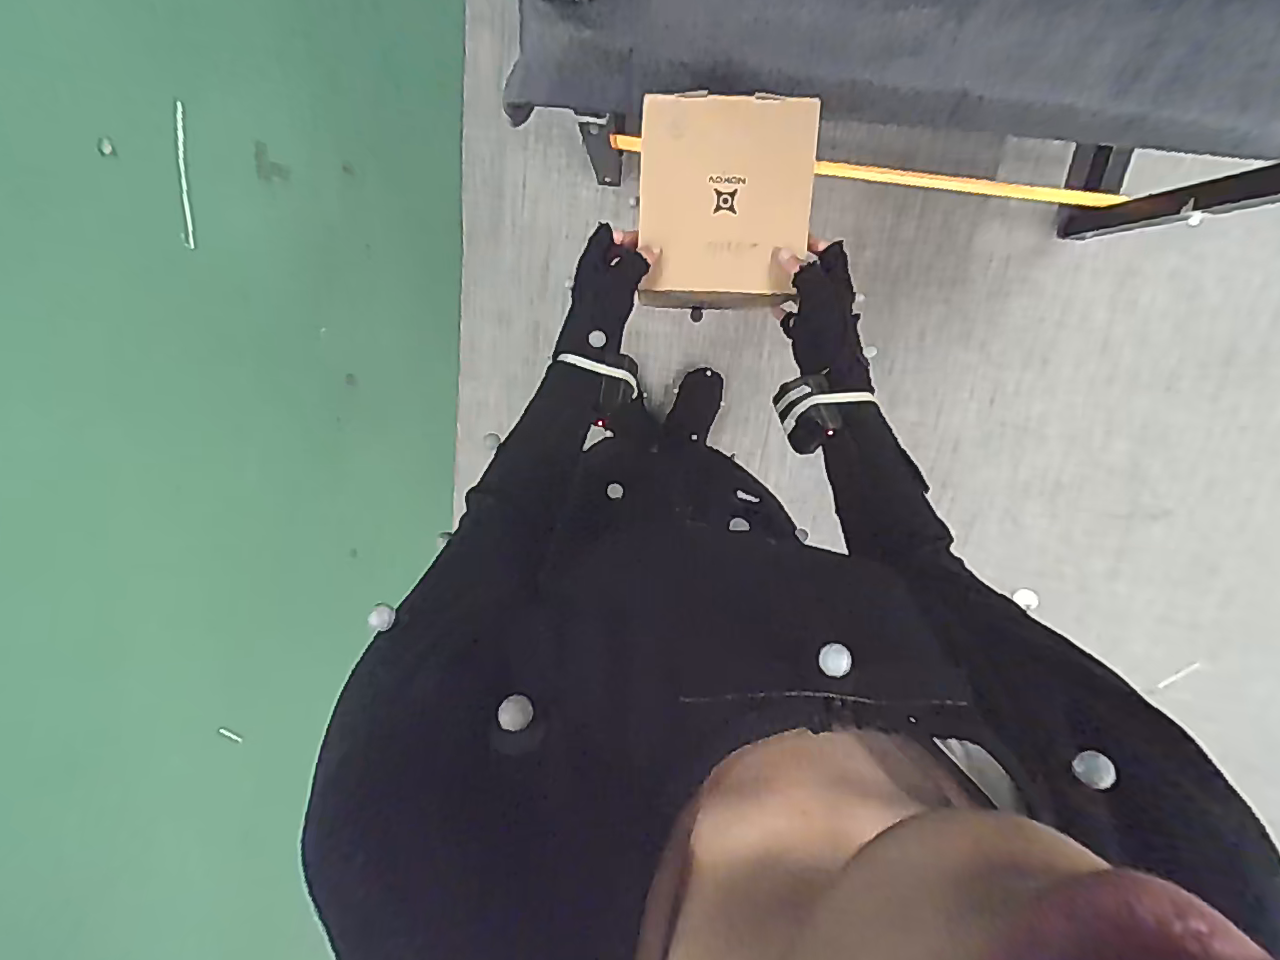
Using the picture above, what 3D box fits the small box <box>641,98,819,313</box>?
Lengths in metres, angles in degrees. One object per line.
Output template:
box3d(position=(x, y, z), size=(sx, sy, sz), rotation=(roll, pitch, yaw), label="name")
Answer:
box3d(position=(0.087, -0.290, 0.605), size=(0.168, 0.176, 0.179), rotation=(2, 102, 2), label="small box")
